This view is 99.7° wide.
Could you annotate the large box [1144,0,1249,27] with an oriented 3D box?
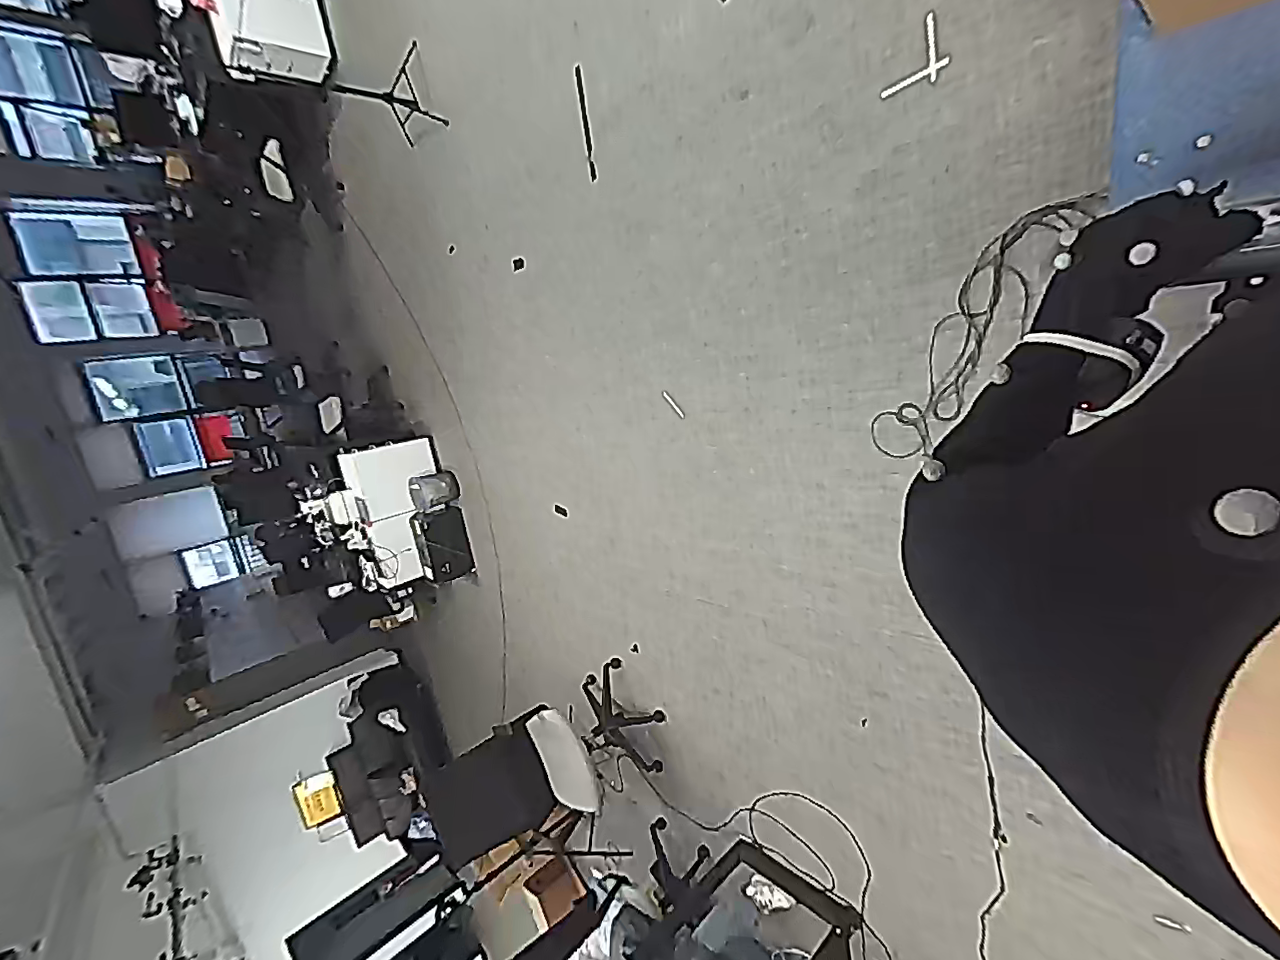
[{"bbox_3d":[0.835,-0.795,0.582,0.408,0.320,0.320,11,113,49],"label":"large box"}]
